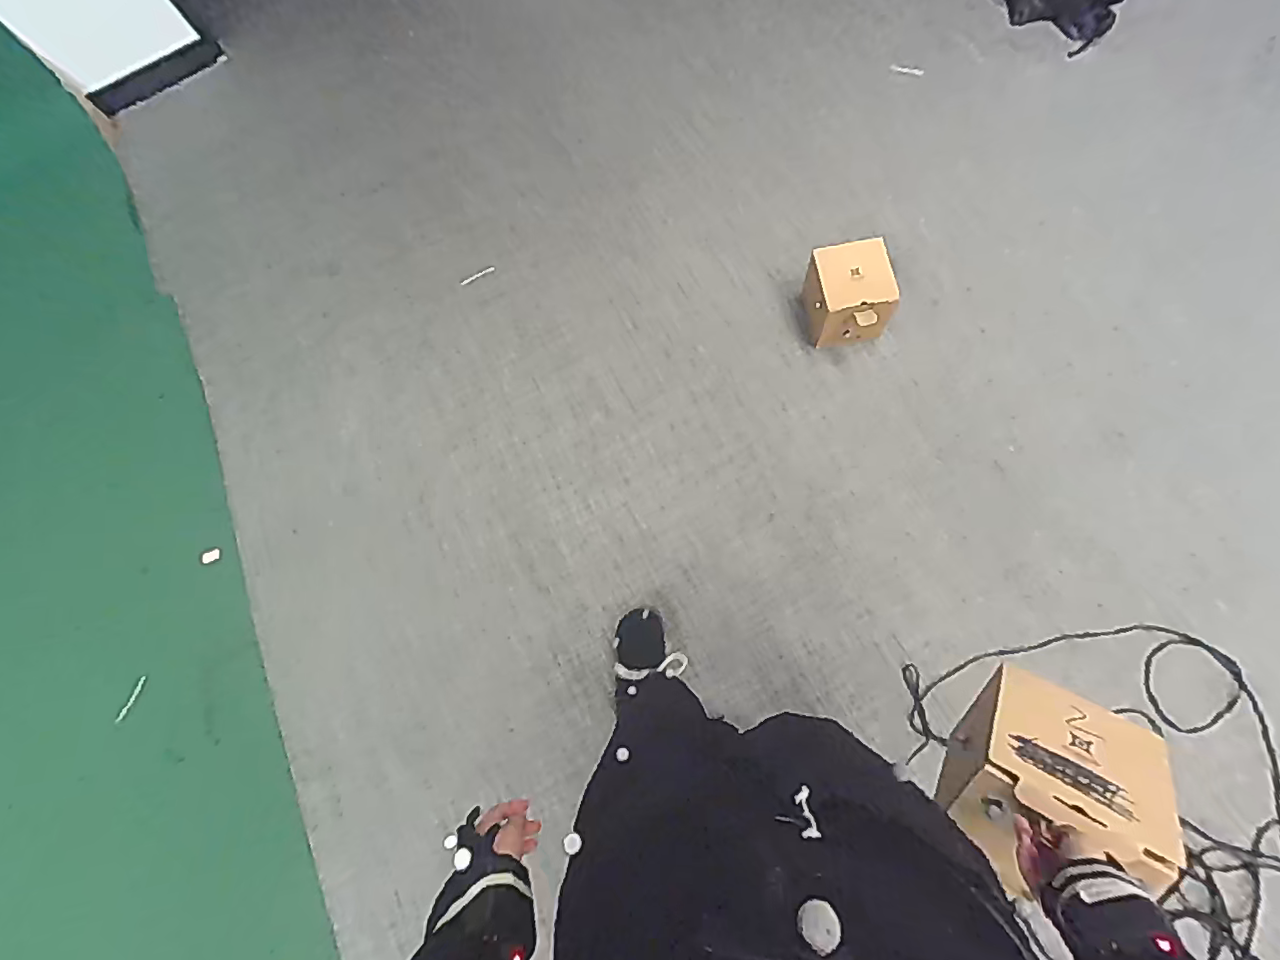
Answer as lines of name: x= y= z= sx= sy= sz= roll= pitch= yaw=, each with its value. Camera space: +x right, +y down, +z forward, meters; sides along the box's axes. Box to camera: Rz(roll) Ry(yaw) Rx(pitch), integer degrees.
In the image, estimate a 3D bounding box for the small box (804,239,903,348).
small box: x=0.512 y=-0.451 z=1.324 sx=0.168 sy=0.176 sz=0.179 roll=-8 pitch=72 yaw=4
